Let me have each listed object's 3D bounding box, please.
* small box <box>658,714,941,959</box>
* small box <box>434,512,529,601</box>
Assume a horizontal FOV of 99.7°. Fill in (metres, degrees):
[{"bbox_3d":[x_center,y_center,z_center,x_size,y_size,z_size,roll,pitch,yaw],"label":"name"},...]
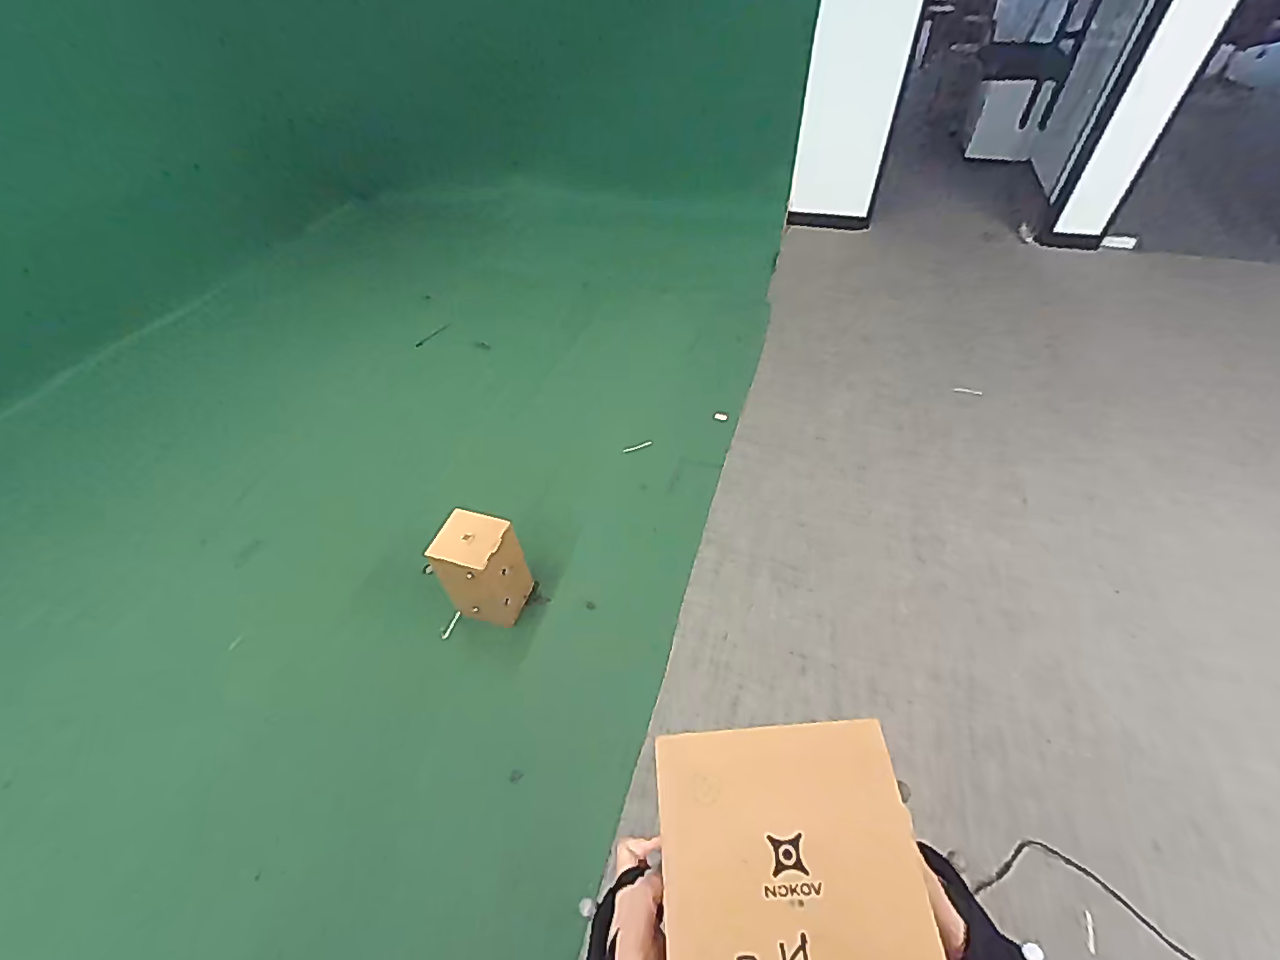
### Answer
[{"bbox_3d":[0.109,0.298,0.421,0.168,0.176,0.179,-8,55,6],"label":"small box"},{"bbox_3d":[-0.436,0.218,1.517,0.179,0.176,0.168,11,50,14],"label":"small box"}]
